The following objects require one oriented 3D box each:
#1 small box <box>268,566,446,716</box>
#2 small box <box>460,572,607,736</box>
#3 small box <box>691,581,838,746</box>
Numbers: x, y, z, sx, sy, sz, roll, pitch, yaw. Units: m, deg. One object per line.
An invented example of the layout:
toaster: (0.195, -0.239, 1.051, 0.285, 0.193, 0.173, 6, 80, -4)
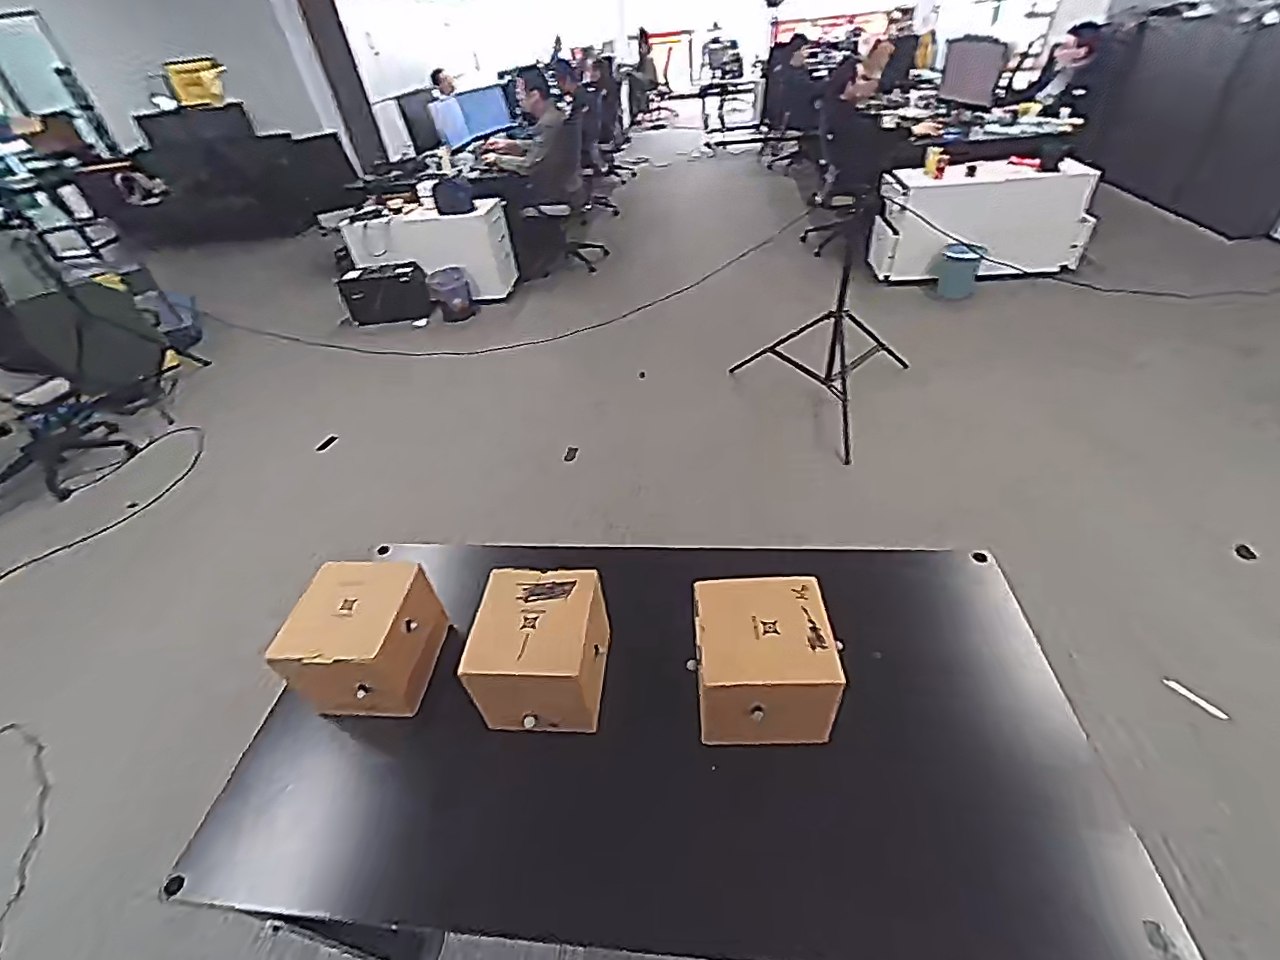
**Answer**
small box: (-0.431, 0.257, 0.863, 0.168, 0.176, 0.179, 0, 40, 5)
small box: (-0.147, 0.261, 0.820, 0.168, 0.176, 0.179, -1, 42, 7)
small box: (0.168, 0.265, 0.777, 0.179, 0.176, 0.168, -4, 41, 4)
